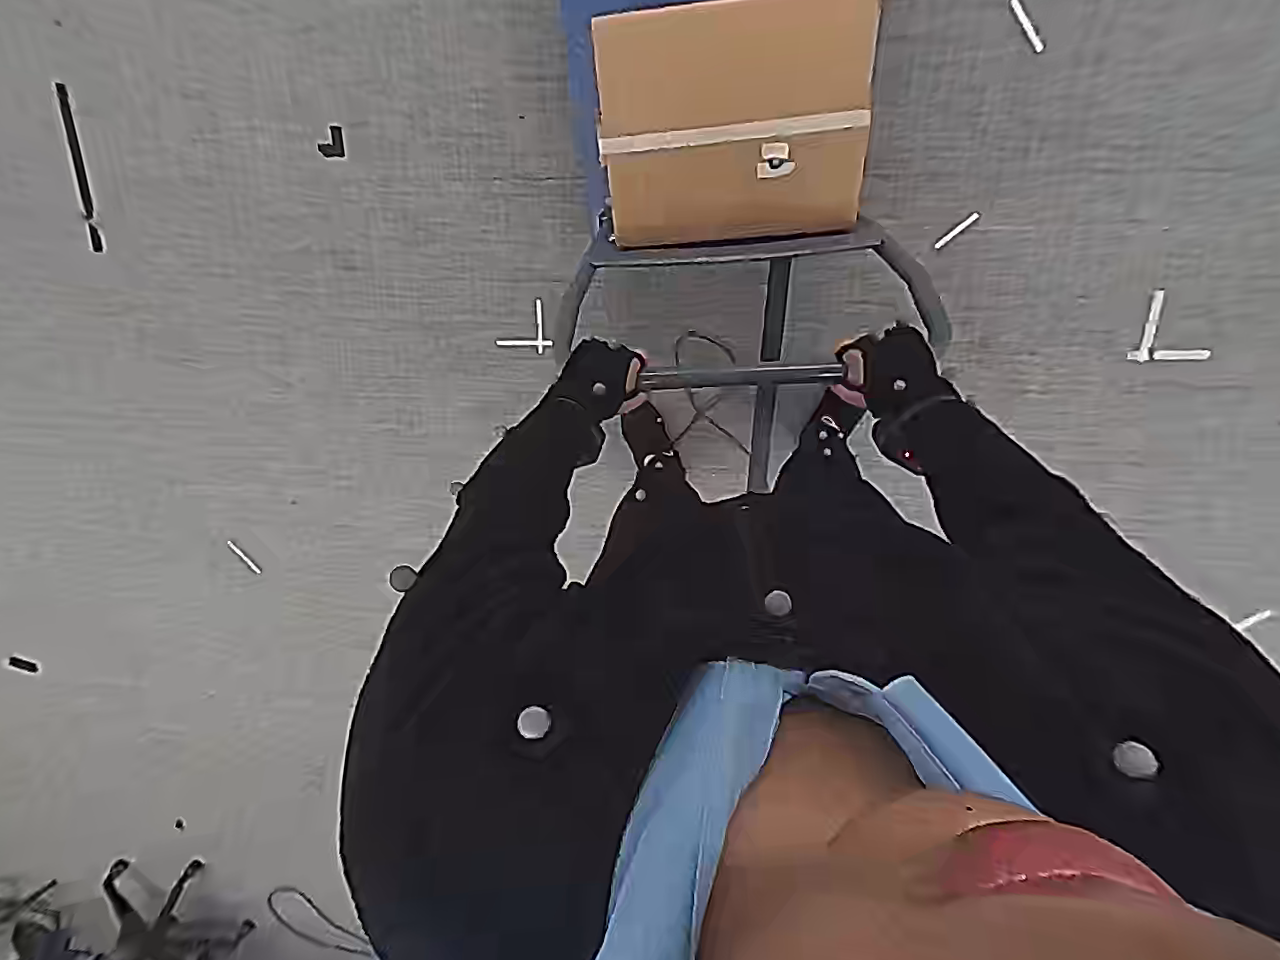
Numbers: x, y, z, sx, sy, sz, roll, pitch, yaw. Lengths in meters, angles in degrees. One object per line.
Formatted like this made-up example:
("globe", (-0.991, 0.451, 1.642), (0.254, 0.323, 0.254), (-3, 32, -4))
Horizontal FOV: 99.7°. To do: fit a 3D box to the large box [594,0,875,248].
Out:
("large box", (0.155, -0.632, 0.970), (0.408, 0.320, 0.320), (-3, 125, 7))
